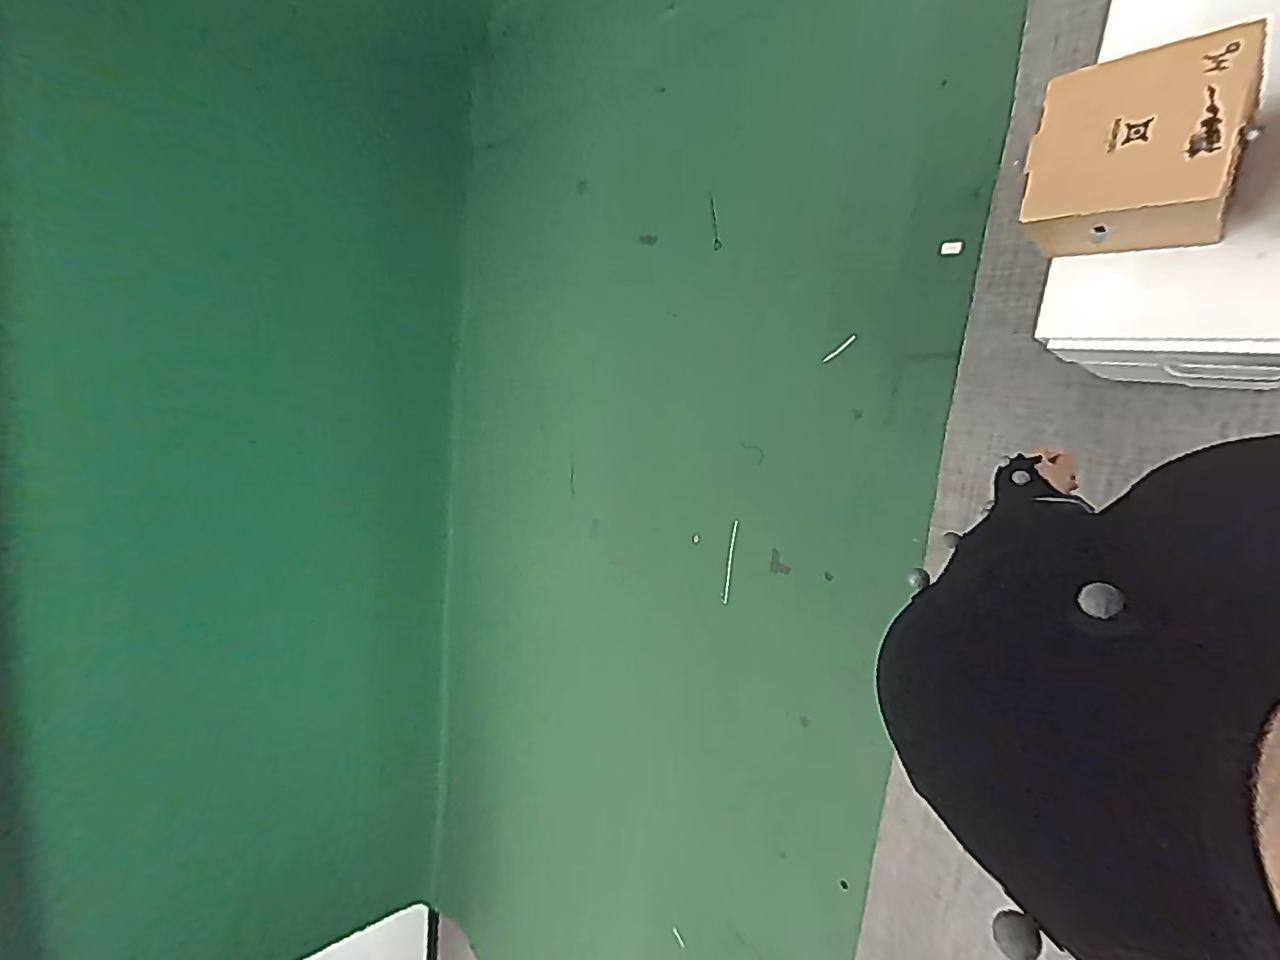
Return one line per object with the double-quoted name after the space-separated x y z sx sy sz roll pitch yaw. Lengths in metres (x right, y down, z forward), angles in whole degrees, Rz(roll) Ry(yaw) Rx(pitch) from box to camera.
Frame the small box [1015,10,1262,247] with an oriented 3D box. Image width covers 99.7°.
0.588 -0.390 0.645 0.179 0.176 0.168 16 104 46 "small box"
